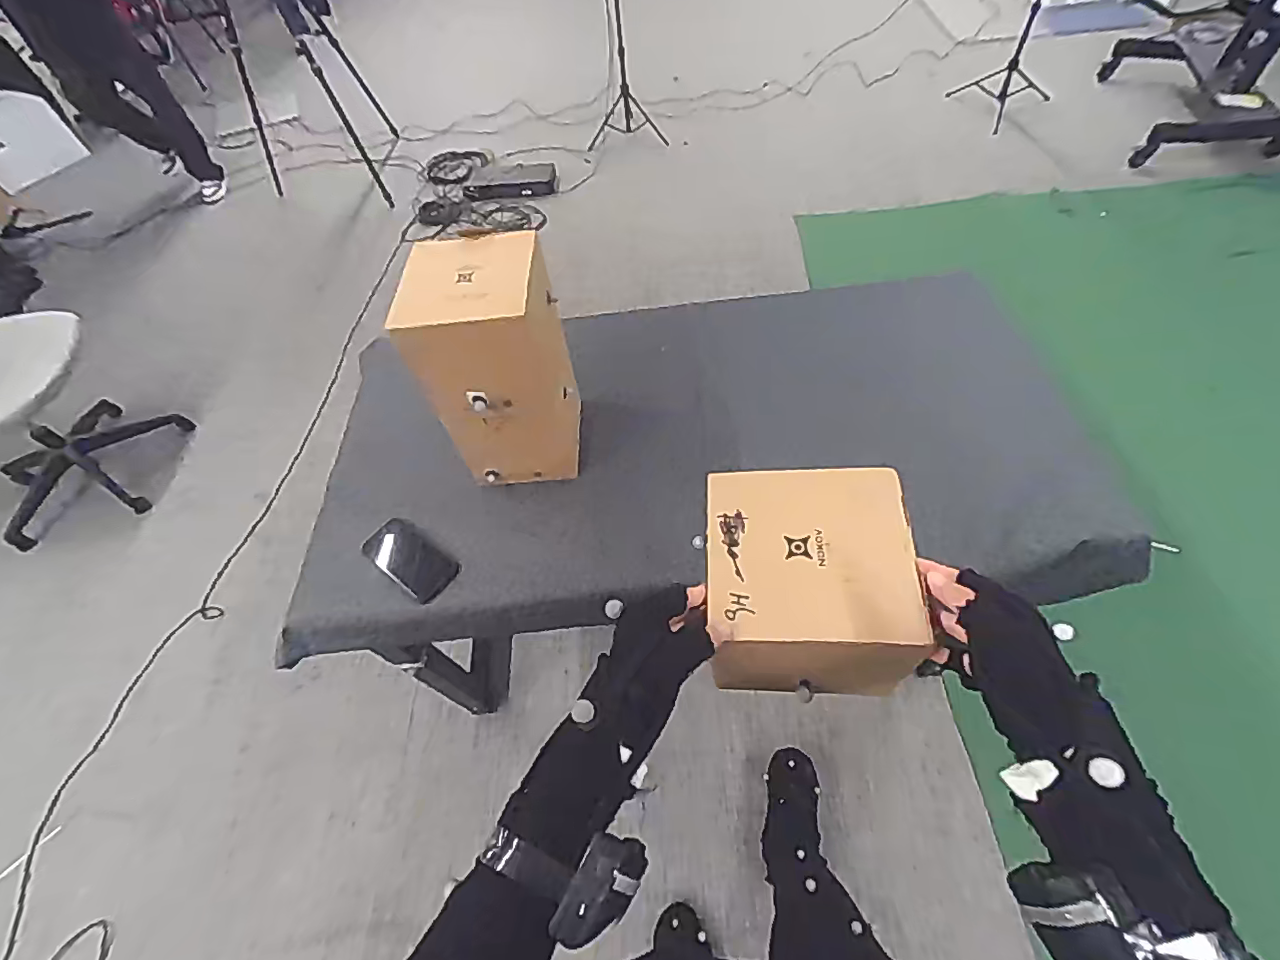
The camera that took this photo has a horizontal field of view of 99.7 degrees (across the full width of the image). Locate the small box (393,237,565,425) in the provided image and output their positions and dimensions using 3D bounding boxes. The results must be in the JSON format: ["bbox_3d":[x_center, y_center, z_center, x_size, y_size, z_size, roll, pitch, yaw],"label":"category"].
[{"bbox_3d":[-0.199,-0.197,0.729,0.168,0.176,0.179,-5,55,3],"label":"small box"}]

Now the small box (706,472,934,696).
[{"bbox_3d":[0.157,0.106,0.534,0.179,0.176,0.168,-1,54,9],"label":"small box"}]

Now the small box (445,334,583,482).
[{"bbox_3d":[-0.187,-0.108,0.864,0.168,0.176,0.179,-4,54,3],"label":"small box"}]
